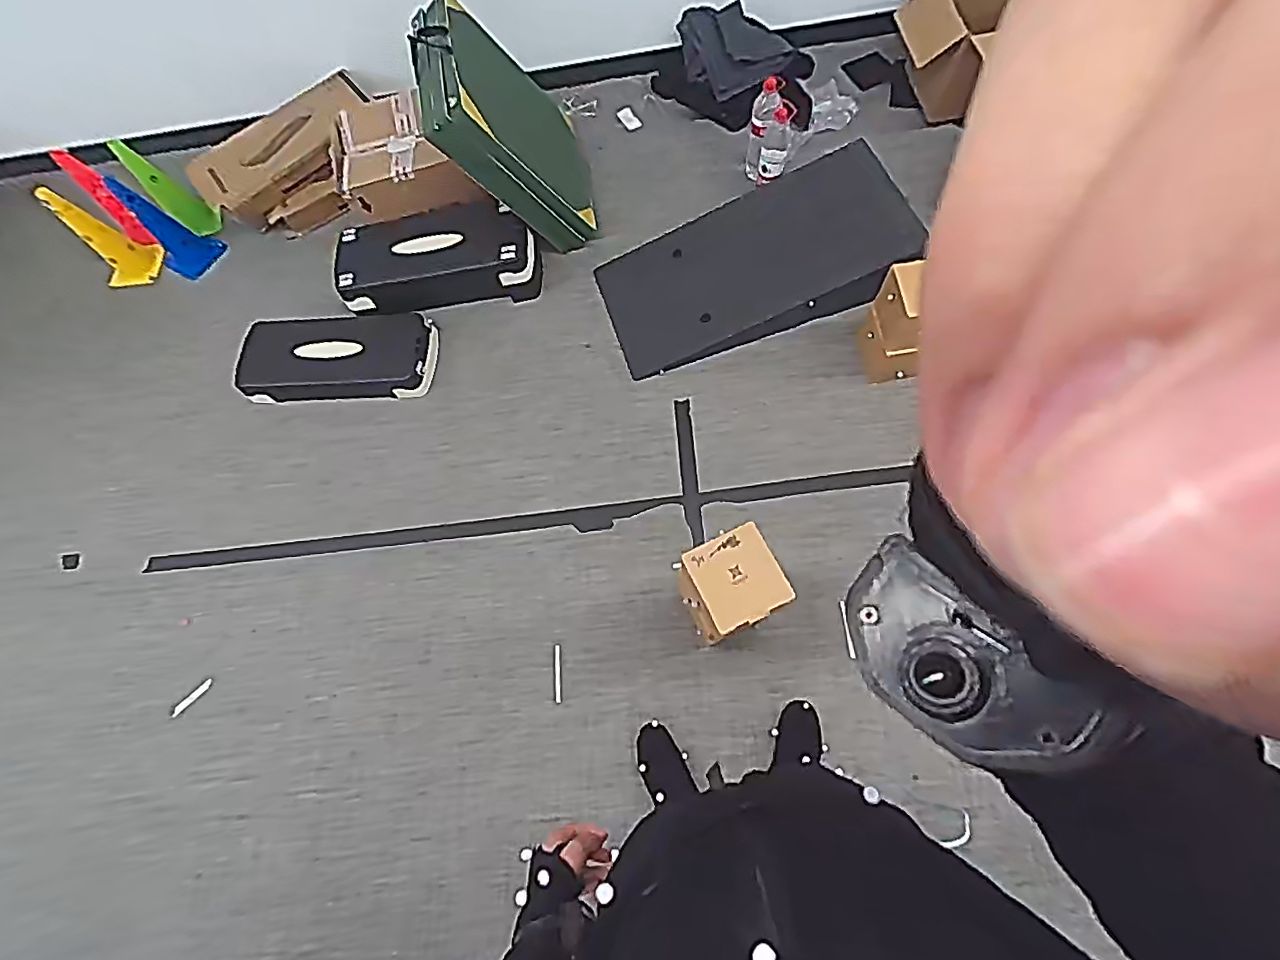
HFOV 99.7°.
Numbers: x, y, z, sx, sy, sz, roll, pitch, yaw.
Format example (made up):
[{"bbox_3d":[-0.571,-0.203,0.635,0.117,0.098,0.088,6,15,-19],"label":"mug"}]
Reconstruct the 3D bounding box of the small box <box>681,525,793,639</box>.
[{"bbox_3d":[0.197,0.221,1.136,0.168,0.176,0.179,-25,70,-4],"label":"small box"}]
